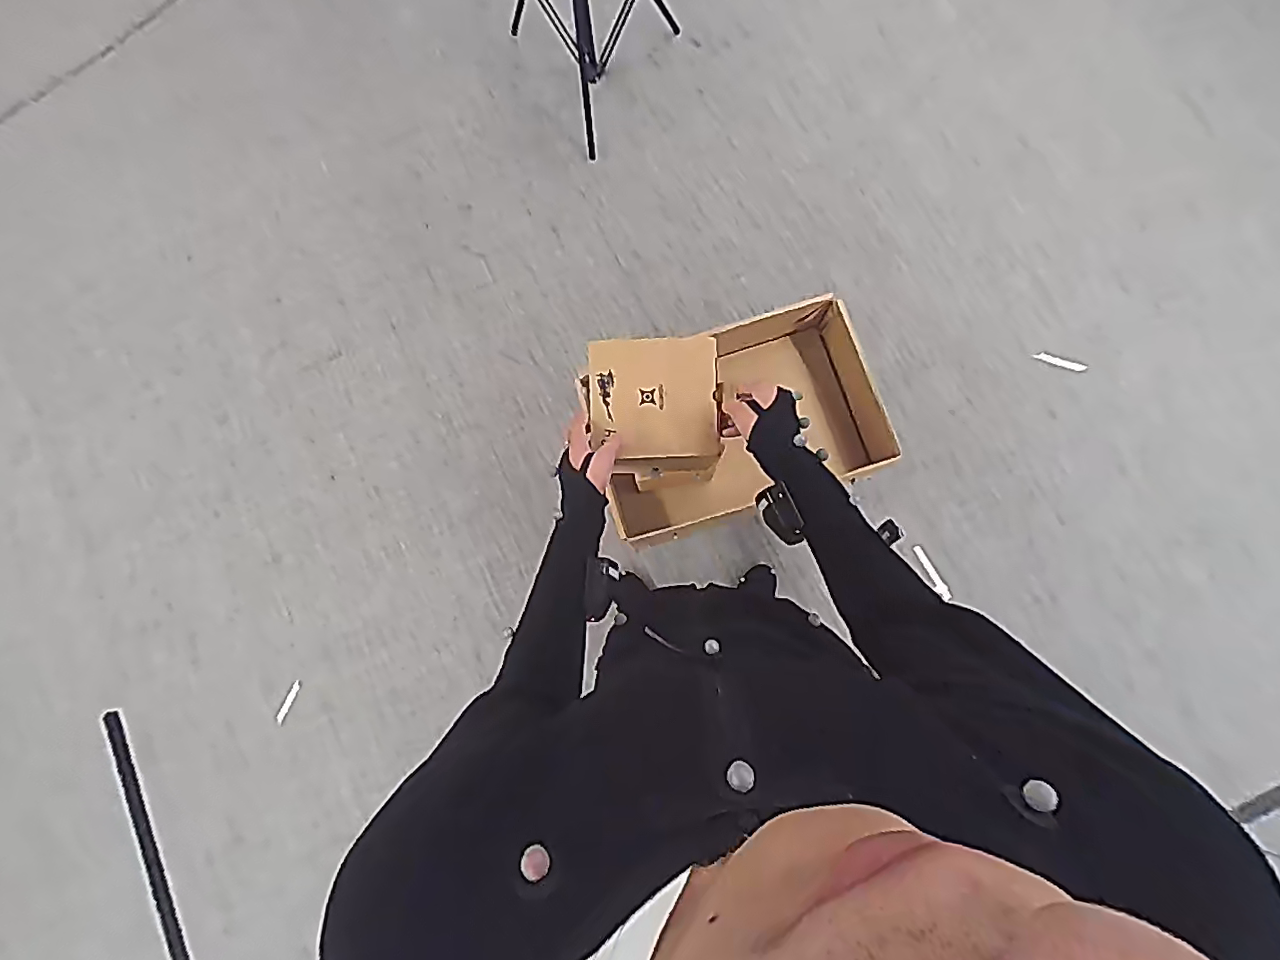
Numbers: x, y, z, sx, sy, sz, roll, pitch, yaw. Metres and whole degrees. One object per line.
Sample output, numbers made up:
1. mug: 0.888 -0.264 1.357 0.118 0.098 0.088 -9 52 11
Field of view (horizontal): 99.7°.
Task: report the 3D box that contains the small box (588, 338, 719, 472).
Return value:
1. small box: 0.016 -0.104 0.805 0.179 0.176 0.168 -1 84 0
